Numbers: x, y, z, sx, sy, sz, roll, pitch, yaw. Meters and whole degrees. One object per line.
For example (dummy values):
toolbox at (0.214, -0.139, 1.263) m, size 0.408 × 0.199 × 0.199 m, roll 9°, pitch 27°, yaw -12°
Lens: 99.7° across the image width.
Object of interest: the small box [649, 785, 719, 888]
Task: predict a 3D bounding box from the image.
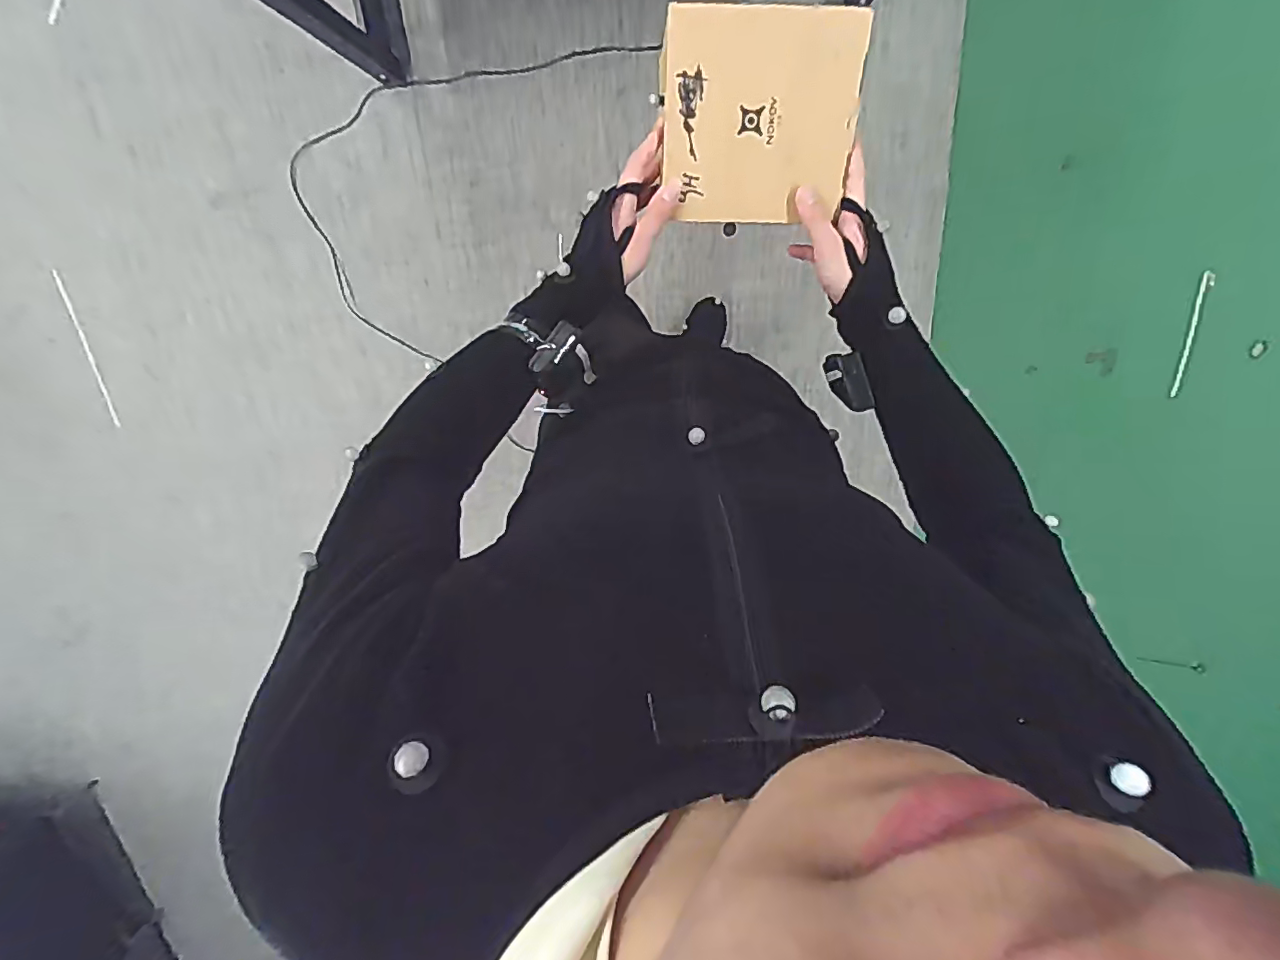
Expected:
small box at (0.120, 0.952, 1.455) m, size 0.179 × 0.176 × 0.168 m, roll -1°, pitch 109°, yaw 7°

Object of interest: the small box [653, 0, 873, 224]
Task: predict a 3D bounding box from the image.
small box at (0.106, -0.362, 0.556) m, size 0.179 × 0.176 × 0.168 m, roll 2°, pitch 117°, yaw -1°
